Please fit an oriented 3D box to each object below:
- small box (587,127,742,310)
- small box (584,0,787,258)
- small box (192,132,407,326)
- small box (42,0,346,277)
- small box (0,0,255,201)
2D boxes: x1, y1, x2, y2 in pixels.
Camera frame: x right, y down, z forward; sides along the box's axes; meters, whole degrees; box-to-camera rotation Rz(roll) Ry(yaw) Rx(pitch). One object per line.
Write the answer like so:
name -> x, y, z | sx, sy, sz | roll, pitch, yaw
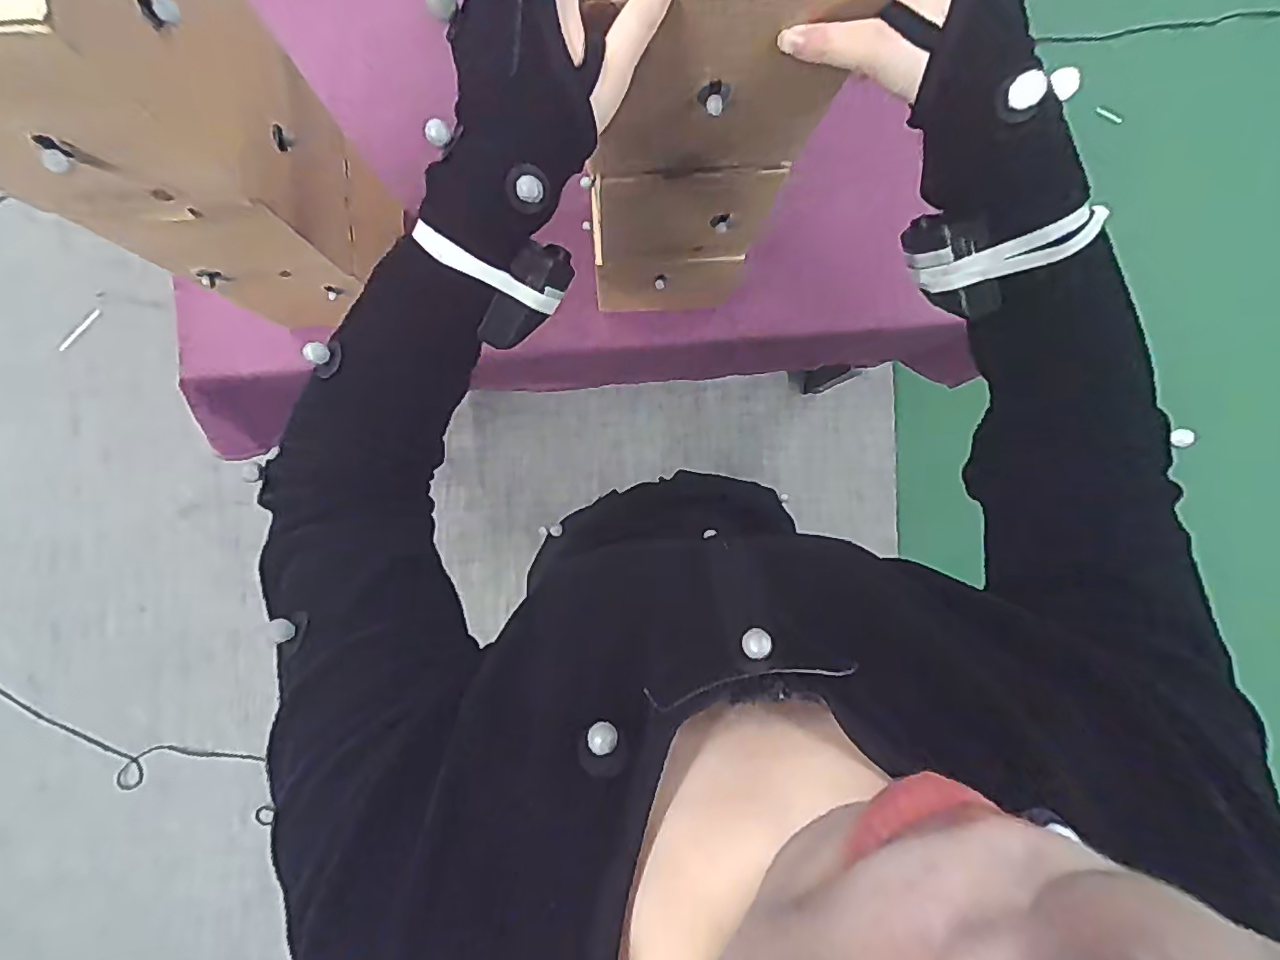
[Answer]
small box -> 0.025, -0.328, 0.703 | 0.179, 0.176, 0.168 | -3, 90, -3
small box -> 0.036, -0.337, 0.540 | 0.168, 0.176, 0.179 | -5, 89, -4
small box -> -0.414, -0.300, 0.677 | 0.179, 0.176, 0.168 | -5, 89, -5
small box -> -0.402, -0.305, 0.513 | 0.168, 0.176, 0.179 | -5, 88, -5
small box -> -0.384, -0.302, 0.349 | 0.168, 0.176, 0.179 | -4, 90, -5
